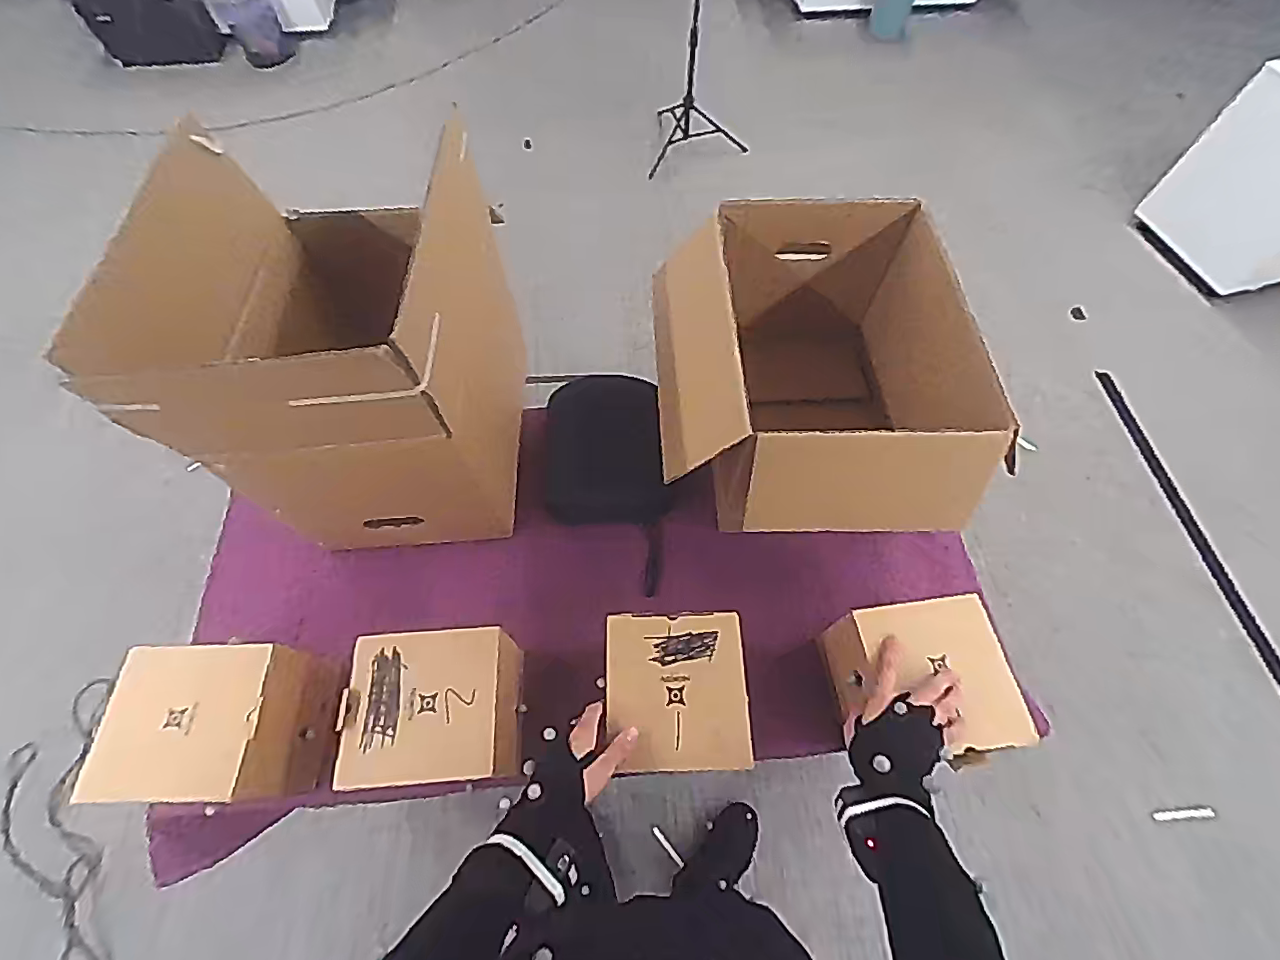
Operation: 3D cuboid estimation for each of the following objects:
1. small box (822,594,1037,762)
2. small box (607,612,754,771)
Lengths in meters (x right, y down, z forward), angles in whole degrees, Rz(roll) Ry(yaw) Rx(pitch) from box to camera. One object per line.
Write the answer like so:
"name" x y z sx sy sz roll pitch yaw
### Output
"small box" 0.357 0.264 0.711 0.168 0.176 0.179 -7 63 -2
"small box" 0.044 0.279 0.705 0.168 0.176 0.179 -1 63 0
